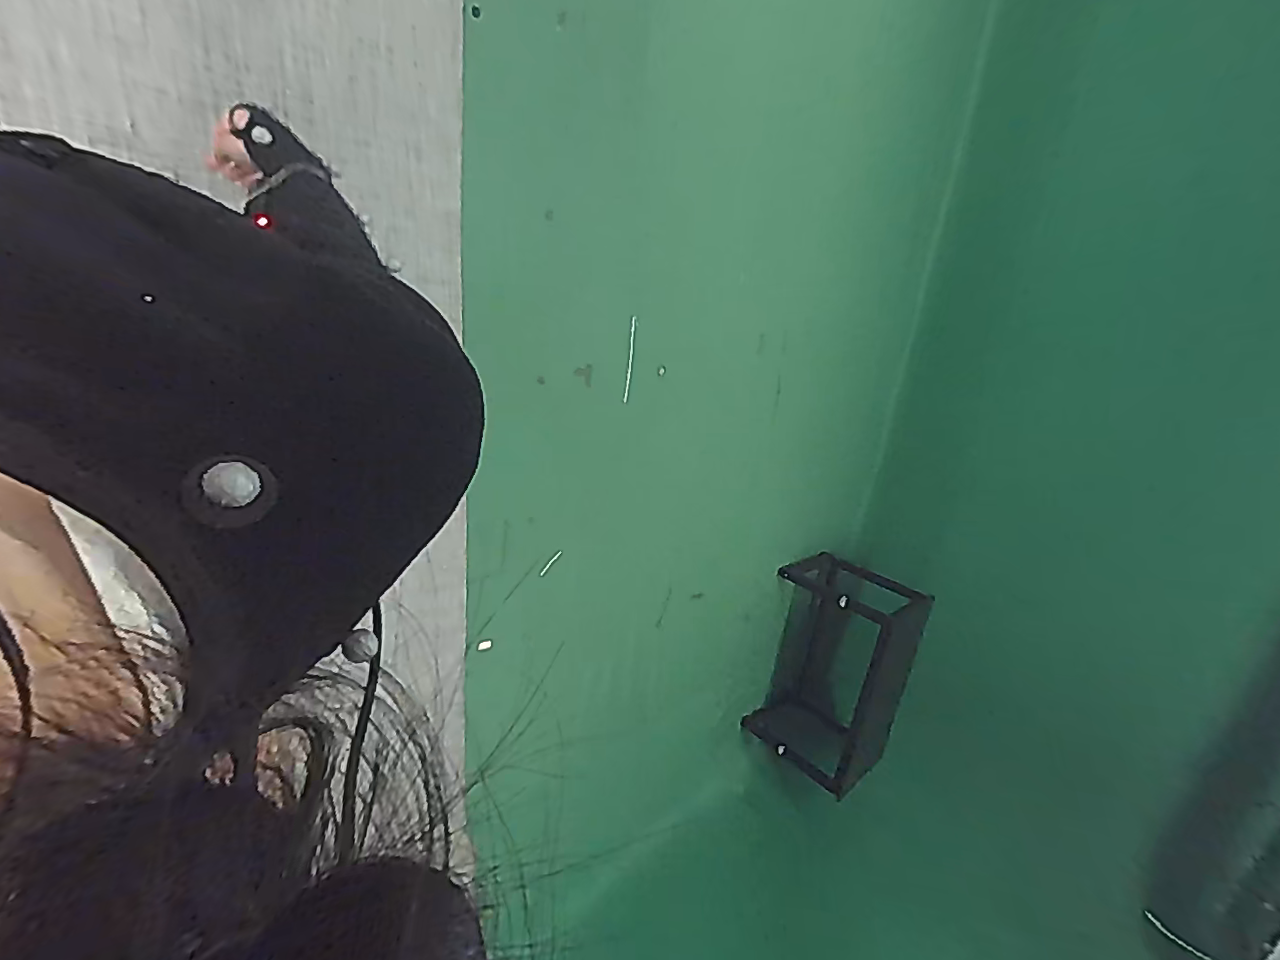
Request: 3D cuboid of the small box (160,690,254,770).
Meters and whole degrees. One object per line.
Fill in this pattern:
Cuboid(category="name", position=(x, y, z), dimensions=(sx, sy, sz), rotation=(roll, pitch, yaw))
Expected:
Cuboid(category="small box", position=(-1.068, 0.645, 1.333), dimensions=(0.168, 0.176, 0.179), rotation=(-4, 111, -43))
